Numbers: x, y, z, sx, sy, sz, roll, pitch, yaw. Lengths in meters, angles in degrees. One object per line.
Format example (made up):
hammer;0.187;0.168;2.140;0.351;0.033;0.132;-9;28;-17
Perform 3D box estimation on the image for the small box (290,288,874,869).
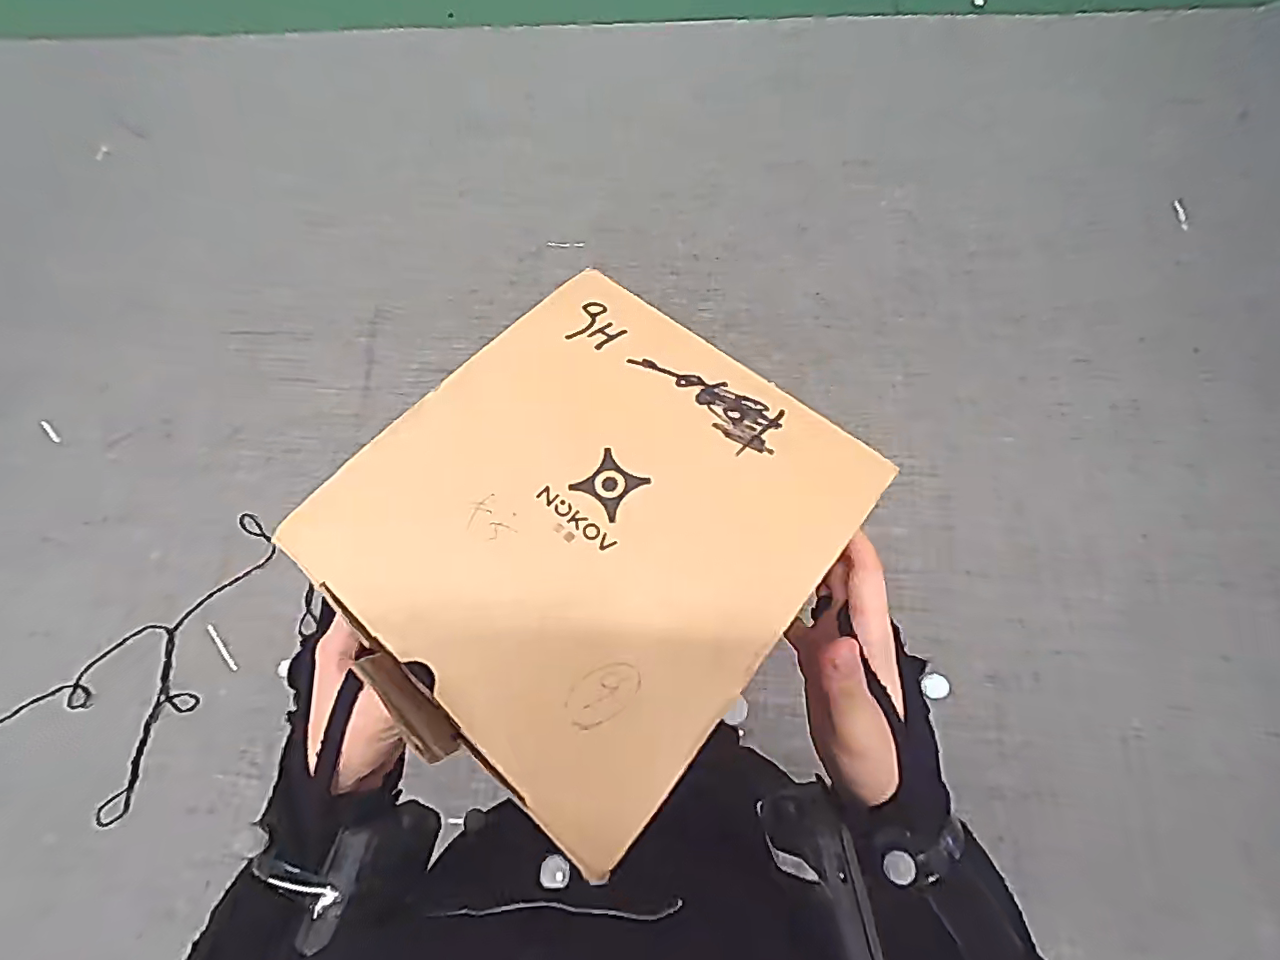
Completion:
small box;-0.019;0.047;0.285;0.168;0.176;0.179;38;71;16
